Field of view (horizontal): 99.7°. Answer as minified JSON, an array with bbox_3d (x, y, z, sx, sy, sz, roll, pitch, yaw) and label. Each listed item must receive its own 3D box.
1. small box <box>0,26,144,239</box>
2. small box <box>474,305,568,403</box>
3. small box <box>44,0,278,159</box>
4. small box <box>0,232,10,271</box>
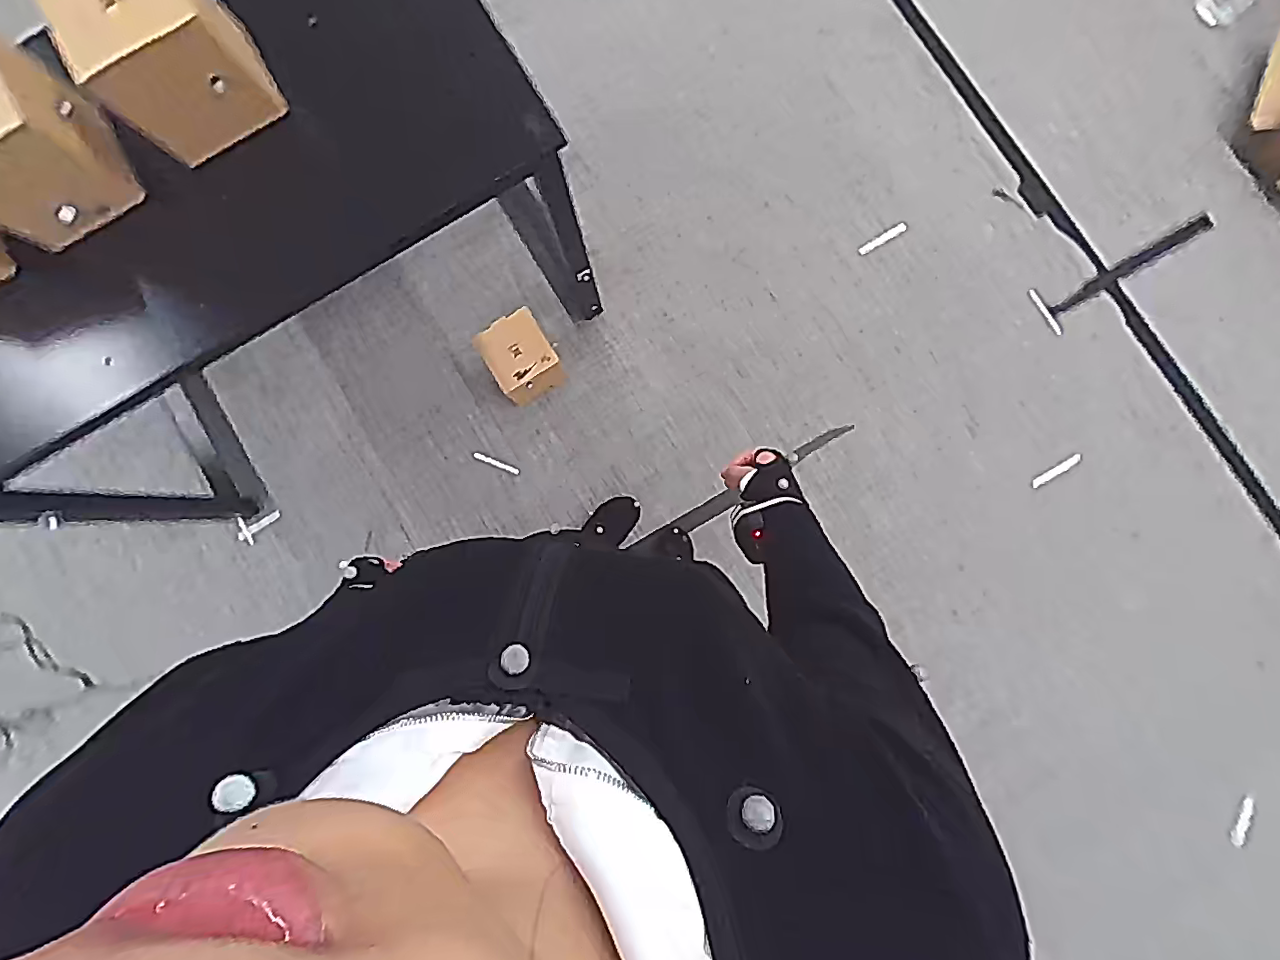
[{"bbox_3d":[-0.872,-0.483,0.759,0.168,0.176,0.179,-31,87,0],"label":"small box"},{"bbox_3d":[-0.315,-0.333,1.462,0.168,0.176,0.179,-31,85,0],"label":"small box"},{"bbox_3d":[-0.657,-0.608,0.763,0.179,0.176,0.168,-30,85,1],"label":"small box"},{"bbox_3d":[-1.069,-0.374,0.756,0.168,0.176,0.179,-27,86,-1],"label":"small box"}]
